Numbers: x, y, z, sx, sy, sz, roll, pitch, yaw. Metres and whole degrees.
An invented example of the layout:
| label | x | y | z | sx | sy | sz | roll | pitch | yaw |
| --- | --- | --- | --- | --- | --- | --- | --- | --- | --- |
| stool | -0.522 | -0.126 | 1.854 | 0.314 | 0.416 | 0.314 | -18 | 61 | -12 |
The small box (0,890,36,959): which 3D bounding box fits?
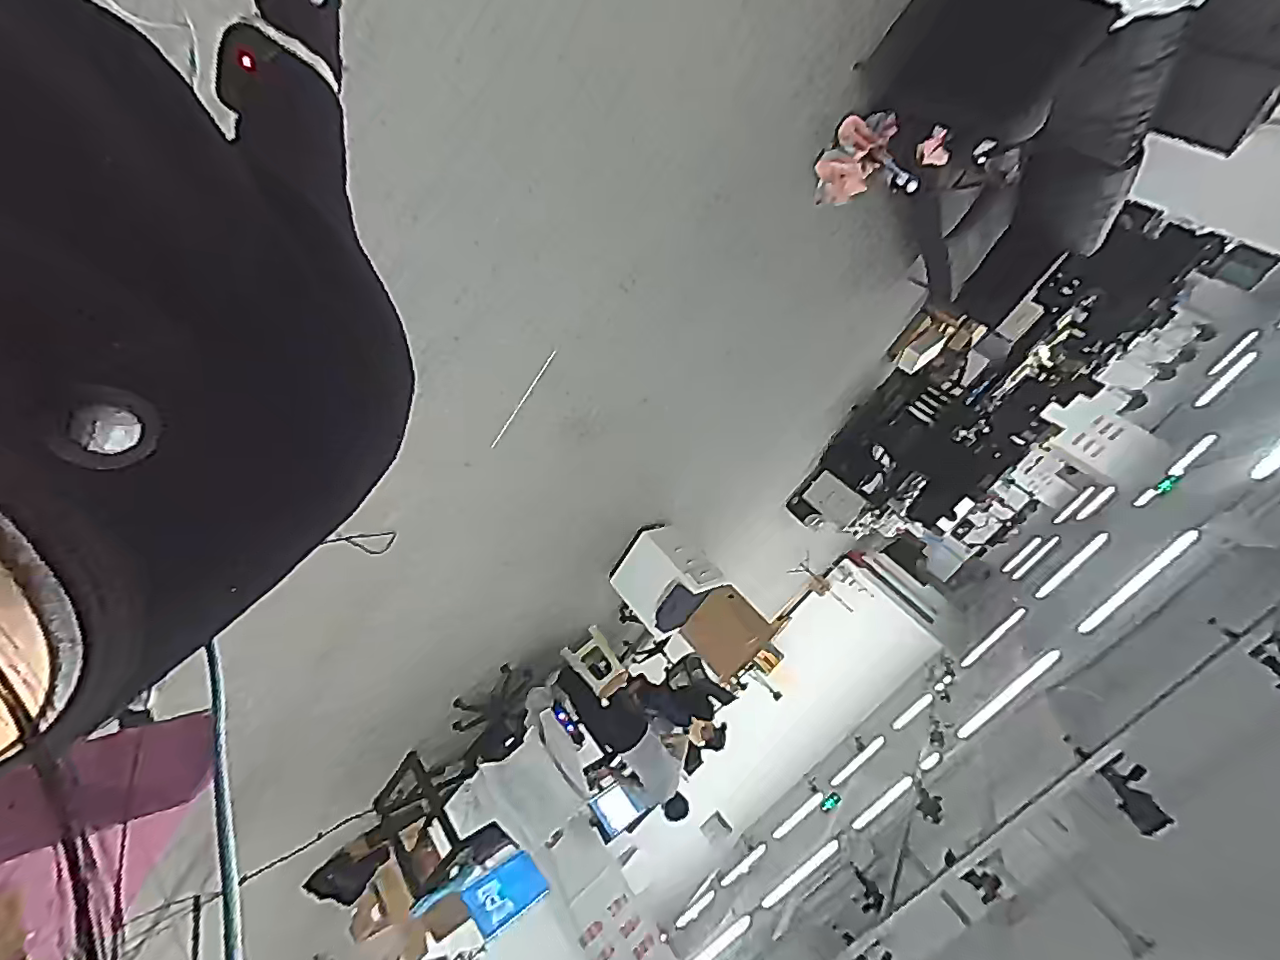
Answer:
| label | x | y | z | sx | sy | sz | roll | pitch | yaw |
| --- | --- | --- | --- | --- | --- | --- | --- | --- | --- |
| small box | -1.262 | 0.916 | 1.004 | 0.168 | 0.176 | 0.179 | 3 | 128 | -54 |
